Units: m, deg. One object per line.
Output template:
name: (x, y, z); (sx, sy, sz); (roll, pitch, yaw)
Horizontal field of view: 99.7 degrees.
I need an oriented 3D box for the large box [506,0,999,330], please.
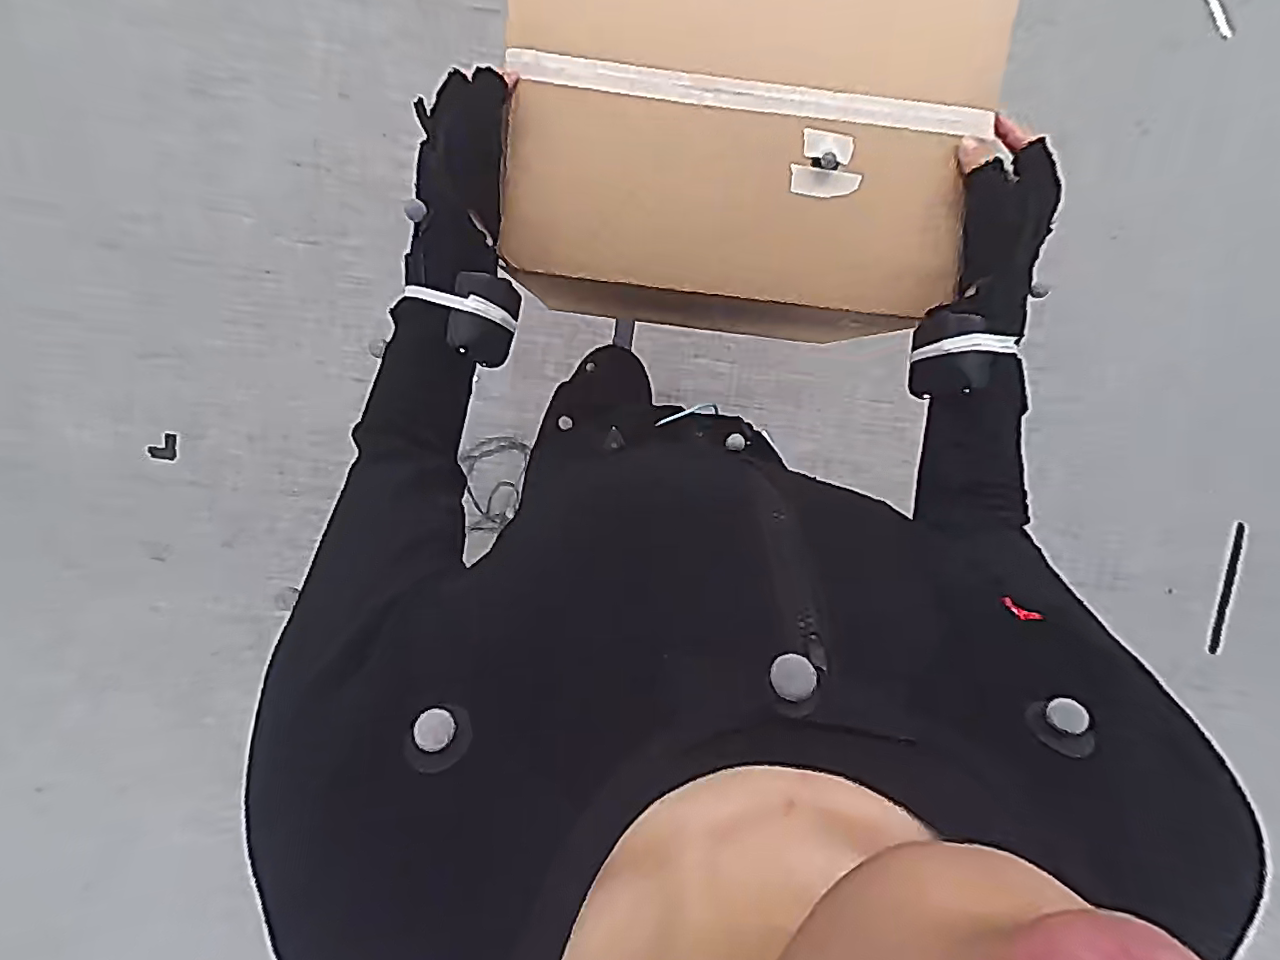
large box: (0.085, -0.354, 0.603); (0.408, 0.320, 0.320); (6, 102, -3)
